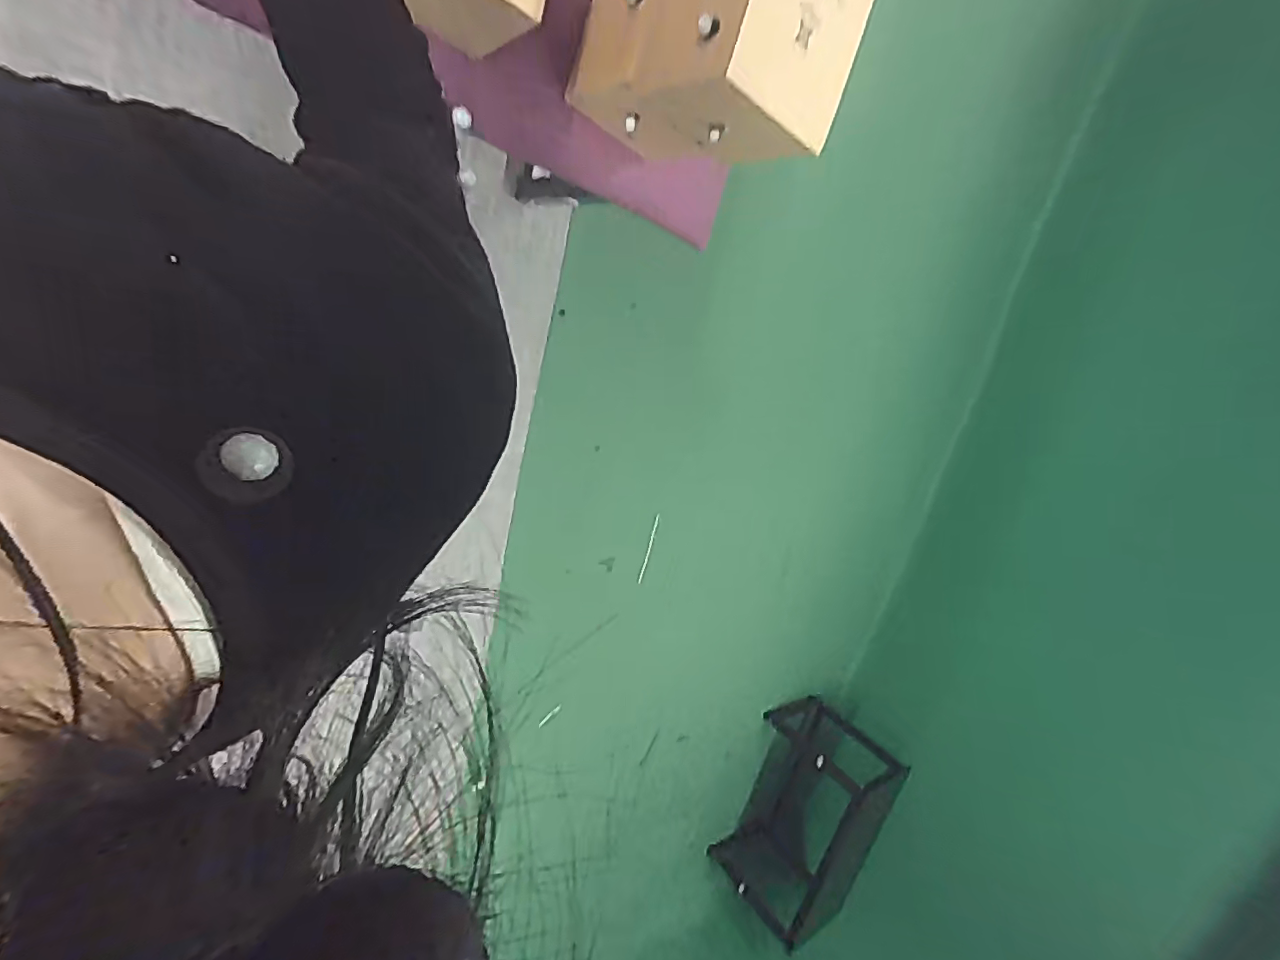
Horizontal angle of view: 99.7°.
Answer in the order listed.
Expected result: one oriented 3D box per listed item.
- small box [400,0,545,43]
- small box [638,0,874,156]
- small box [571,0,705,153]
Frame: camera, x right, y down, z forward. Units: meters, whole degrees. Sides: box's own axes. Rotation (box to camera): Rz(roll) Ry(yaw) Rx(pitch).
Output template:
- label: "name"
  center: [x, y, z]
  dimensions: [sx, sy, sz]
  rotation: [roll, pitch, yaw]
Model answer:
- label: "small box"
  center: [-0.191, -0.574, 0.527]
  dimensions: [0.179, 0.176, 0.168]
  rotation: [4, 108, -42]
- label: "small box"
  center: [0.120, -0.487, 0.602]
  dimensions: [0.168, 0.176, 0.179]
  rotation: [6, 108, -41]
- label: "small box"
  center: [0.030, -0.564, 0.718]
  dimensions: [0.168, 0.176, 0.179]
  rotation: [10, 105, -42]
